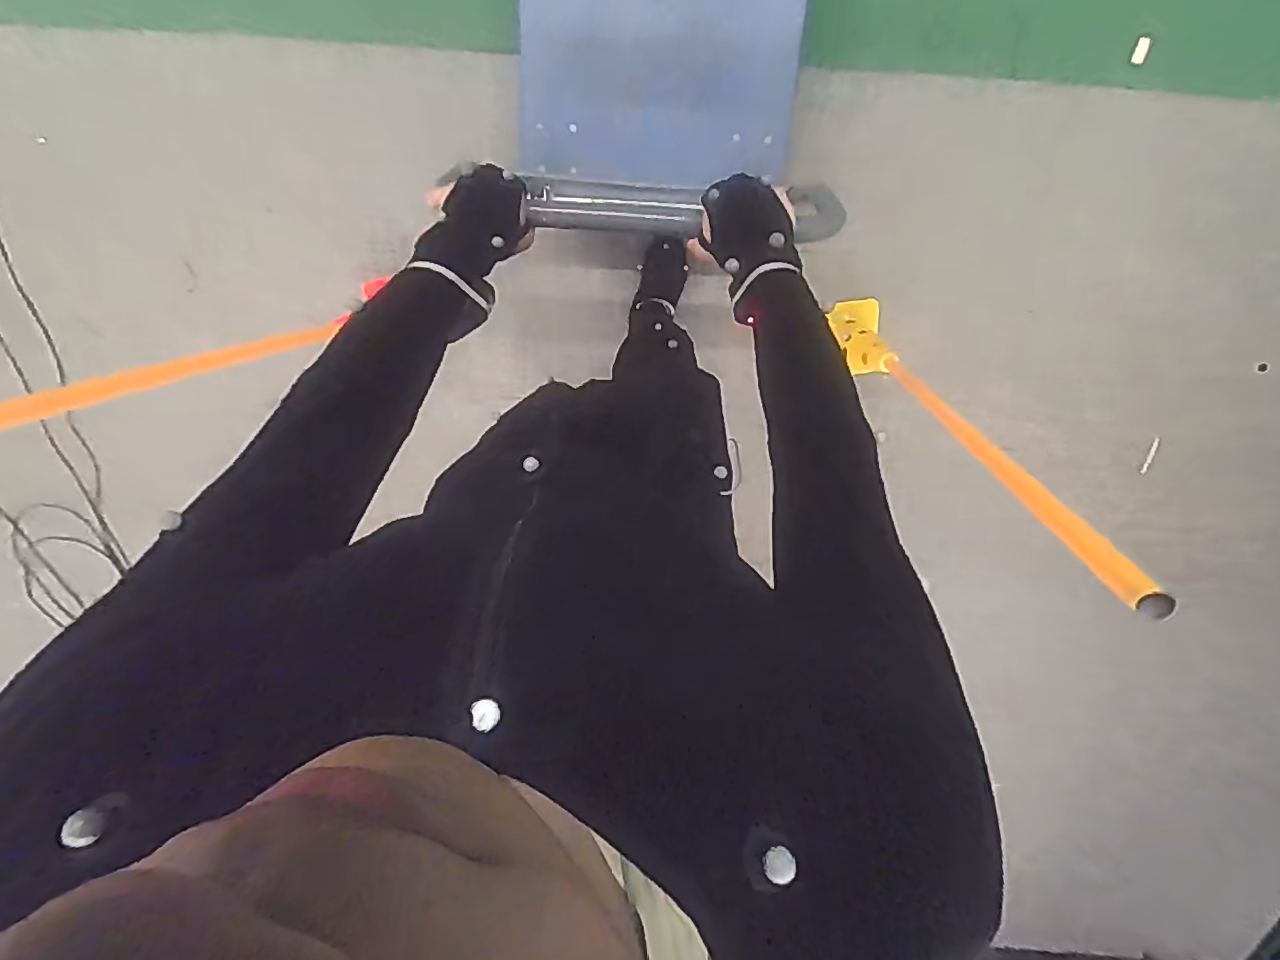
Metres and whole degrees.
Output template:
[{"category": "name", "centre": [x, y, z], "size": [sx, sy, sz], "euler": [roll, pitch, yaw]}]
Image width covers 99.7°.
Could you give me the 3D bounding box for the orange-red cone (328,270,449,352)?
[{"category": "orange-red cone", "centre": [-0.646, -0.396, 1.324], "size": [0.199, 0.360, 0.198], "euler": [-9, 112, 7]}]
